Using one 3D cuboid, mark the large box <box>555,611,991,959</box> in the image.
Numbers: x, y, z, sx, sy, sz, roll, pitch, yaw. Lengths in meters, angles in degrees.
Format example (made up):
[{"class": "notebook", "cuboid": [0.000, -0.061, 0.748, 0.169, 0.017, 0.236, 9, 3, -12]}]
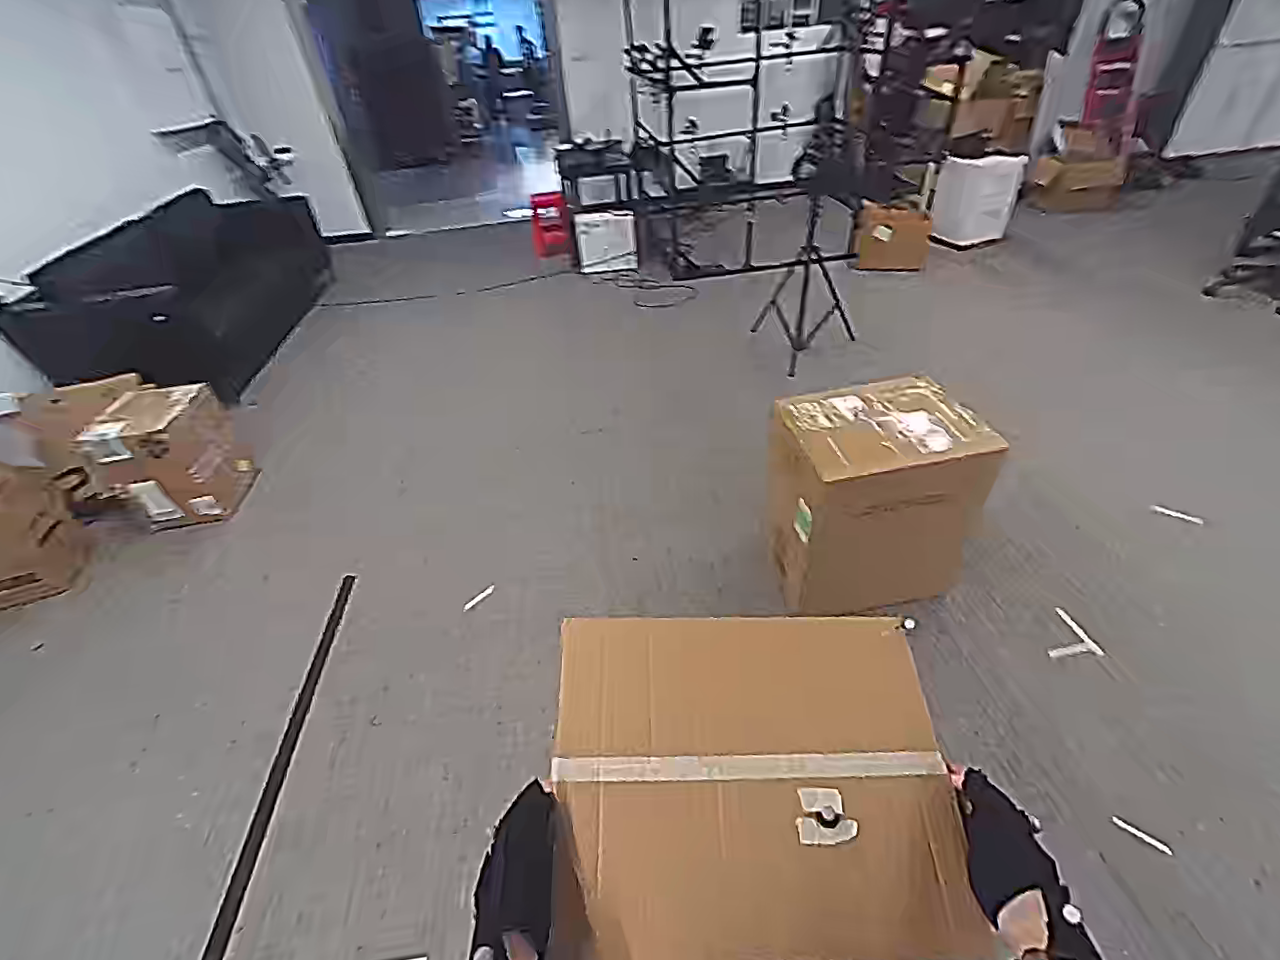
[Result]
[{"class": "large box", "cuboid": [0.111, 0.369, 0.684, 0.408, 0.320, 0.320, 1, 57, -2]}]
